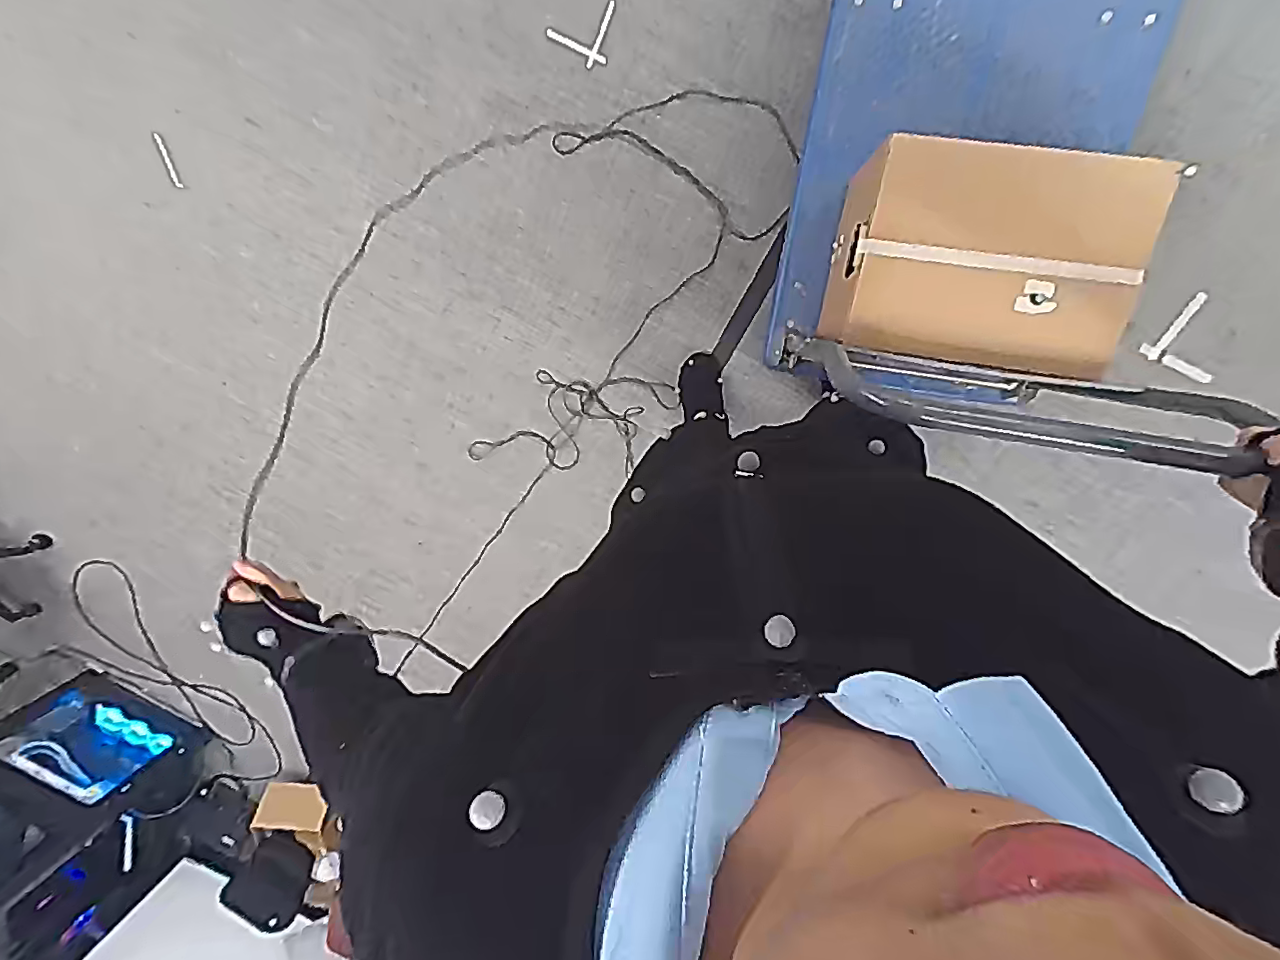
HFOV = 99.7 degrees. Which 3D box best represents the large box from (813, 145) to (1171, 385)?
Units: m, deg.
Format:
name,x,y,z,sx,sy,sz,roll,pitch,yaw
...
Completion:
name,x,y,z,sx,sy,sz,roll,pitch,yaw
large box,0.564,-0.368,0.973,0.408,0.320,0.320,10,109,6
